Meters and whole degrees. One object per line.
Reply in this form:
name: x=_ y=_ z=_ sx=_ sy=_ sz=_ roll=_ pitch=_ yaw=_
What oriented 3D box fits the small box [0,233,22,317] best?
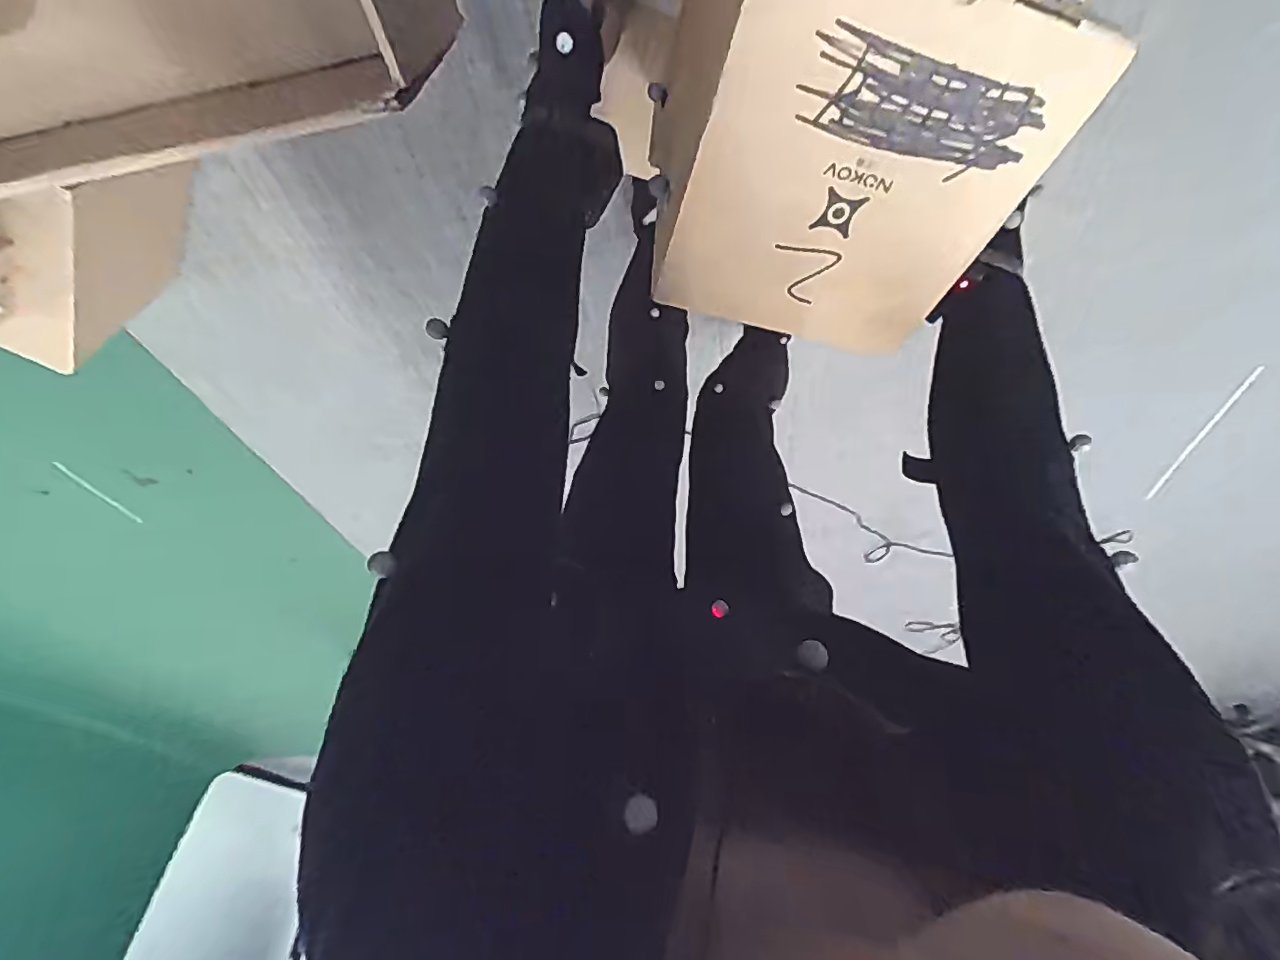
small box: x=-0.976 y=-0.272 z=0.696 sx=0.179 sy=0.176 sz=0.168 roll=32 pitch=132 yaw=-31

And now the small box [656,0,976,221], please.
small box: x=0.117 y=-0.347 z=0.418 sx=0.168 sy=0.176 sz=0.179 roll=14 pitch=142 yaw=-13
